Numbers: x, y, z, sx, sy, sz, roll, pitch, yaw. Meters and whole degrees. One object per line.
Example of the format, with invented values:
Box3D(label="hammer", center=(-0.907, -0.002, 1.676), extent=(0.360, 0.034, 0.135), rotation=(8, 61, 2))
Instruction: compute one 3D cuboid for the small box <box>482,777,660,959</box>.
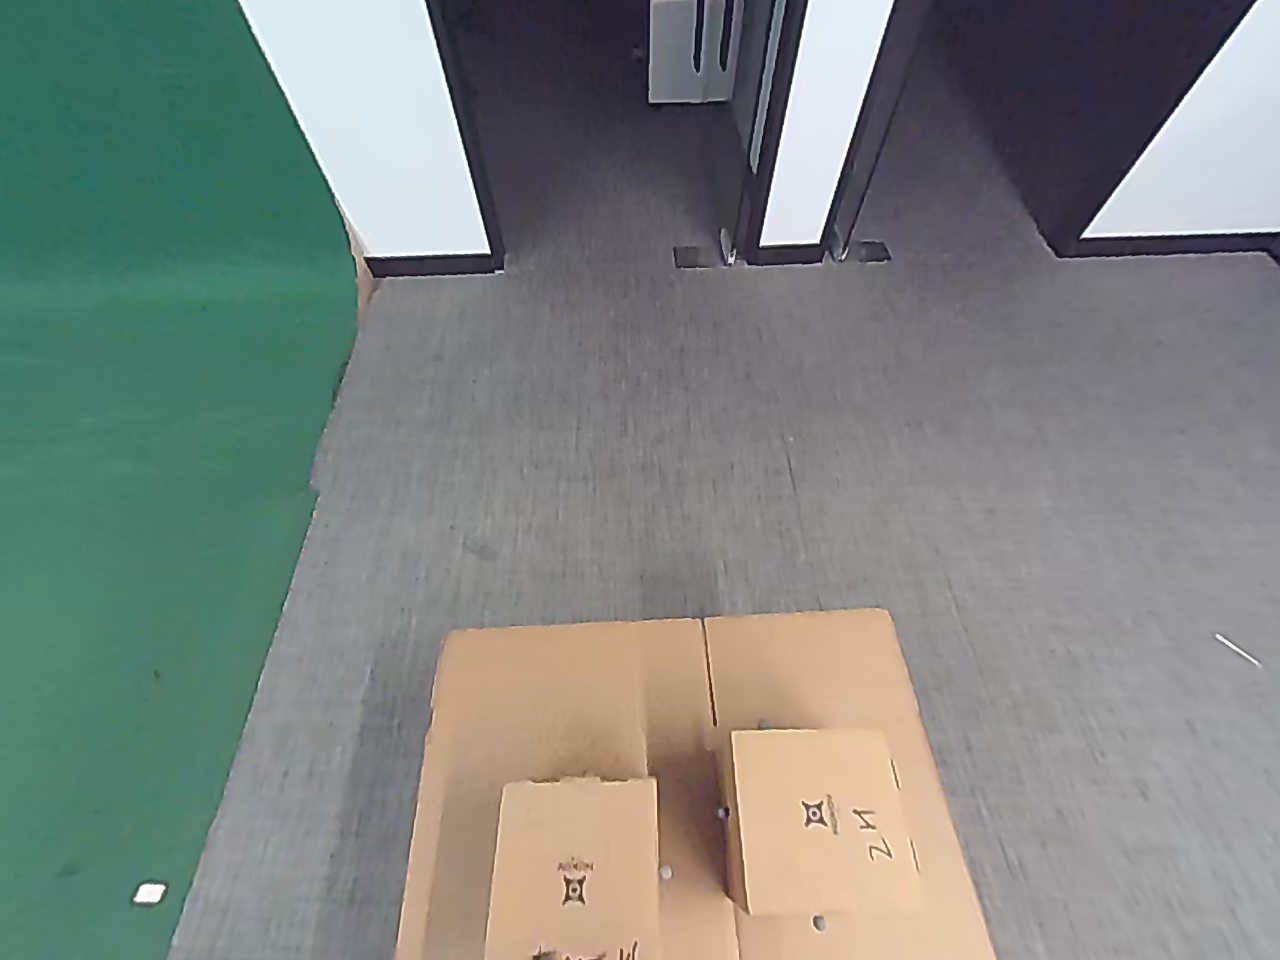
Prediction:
Box3D(label="small box", center=(-0.062, 0.438, 0.592), extent=(0.168, 0.176, 0.179), rotation=(-2, 54, 1))

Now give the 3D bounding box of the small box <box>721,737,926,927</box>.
Box3D(label="small box", center=(0.187, 0.398, 0.620), extent=(0.179, 0.176, 0.168), rotation=(-1, 56, 1))
